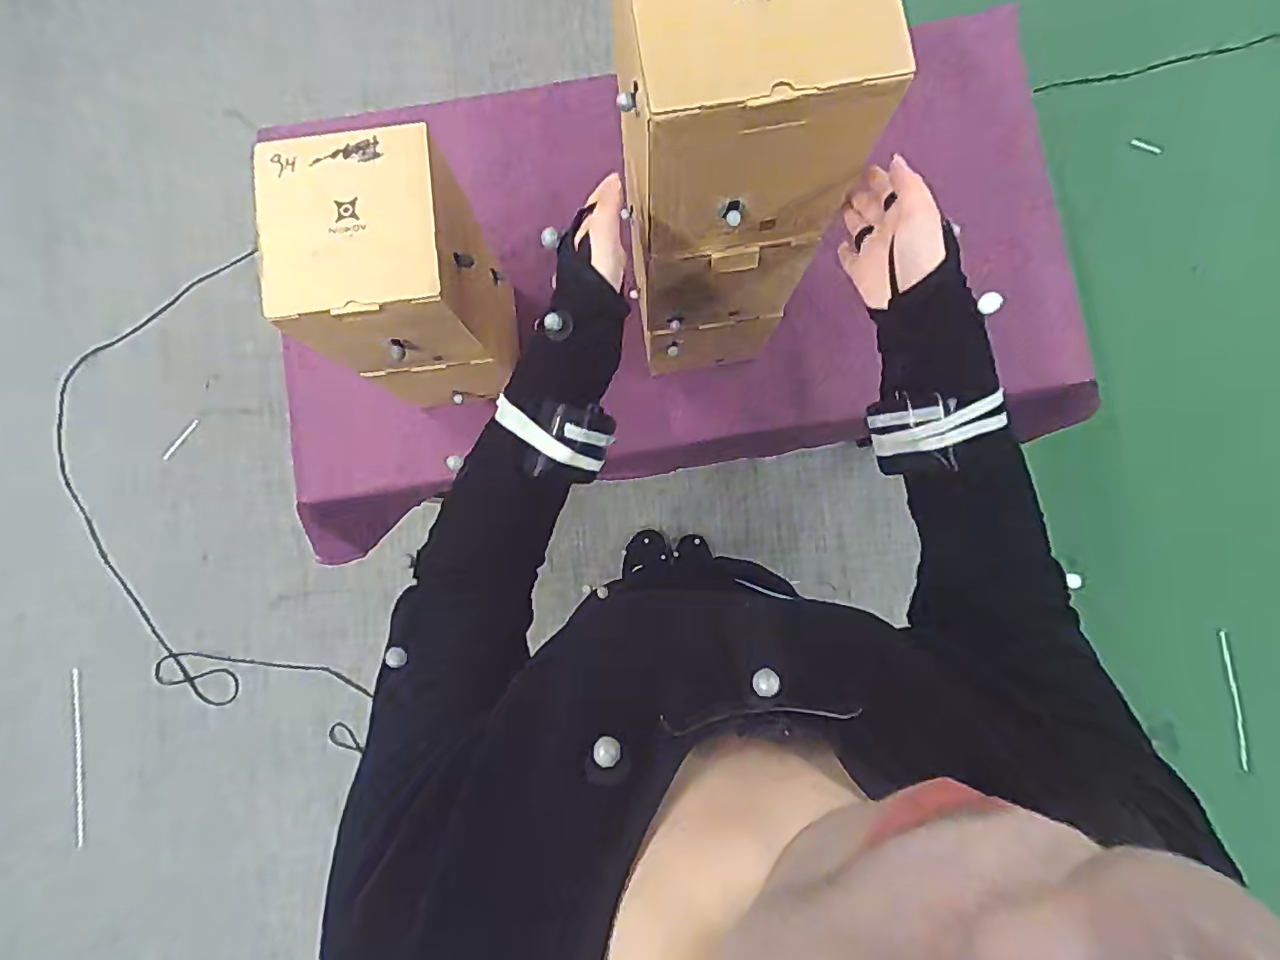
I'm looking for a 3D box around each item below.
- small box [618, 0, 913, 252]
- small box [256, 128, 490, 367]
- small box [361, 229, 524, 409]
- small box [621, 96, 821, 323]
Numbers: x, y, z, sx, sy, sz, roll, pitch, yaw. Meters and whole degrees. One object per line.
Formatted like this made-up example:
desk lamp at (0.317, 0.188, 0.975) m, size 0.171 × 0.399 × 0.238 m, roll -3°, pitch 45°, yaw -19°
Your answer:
small box at (0.074, -0.309, 0.417) m, size 0.168 × 0.176 × 0.179 m, roll -9°, pitch 85°, yaw 0°
small box at (-0.267, -0.228, 0.578) m, size 0.168 × 0.176 × 0.179 m, roll -7°, pitch 85°, yaw 0°
small box at (-0.264, -0.209, 0.742) m, size 0.168 × 0.176 × 0.179 m, roll -7°, pitch 84°, yaw 1°
small box at (0.076, -0.282, 0.578) m, size 0.168 × 0.176 × 0.179 m, roll -8°, pitch 83°, yaw 0°
